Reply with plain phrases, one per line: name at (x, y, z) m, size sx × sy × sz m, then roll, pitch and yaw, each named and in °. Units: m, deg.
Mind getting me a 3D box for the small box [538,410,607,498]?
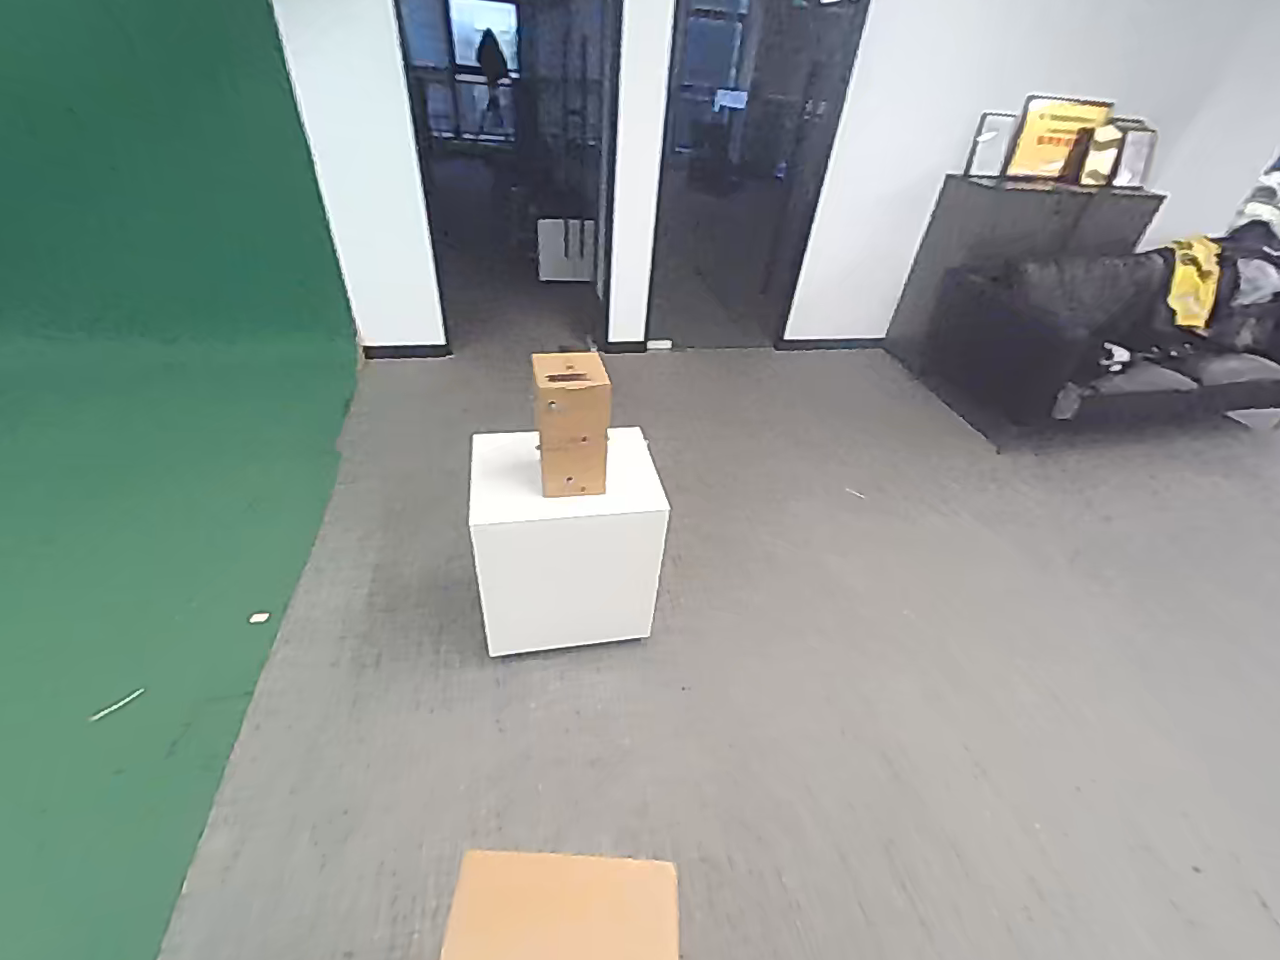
small box at (-0.184, -0.071, 1.438) m, size 0.168 × 0.176 × 0.179 m, roll -4°, pitch 39°, yaw -12°
